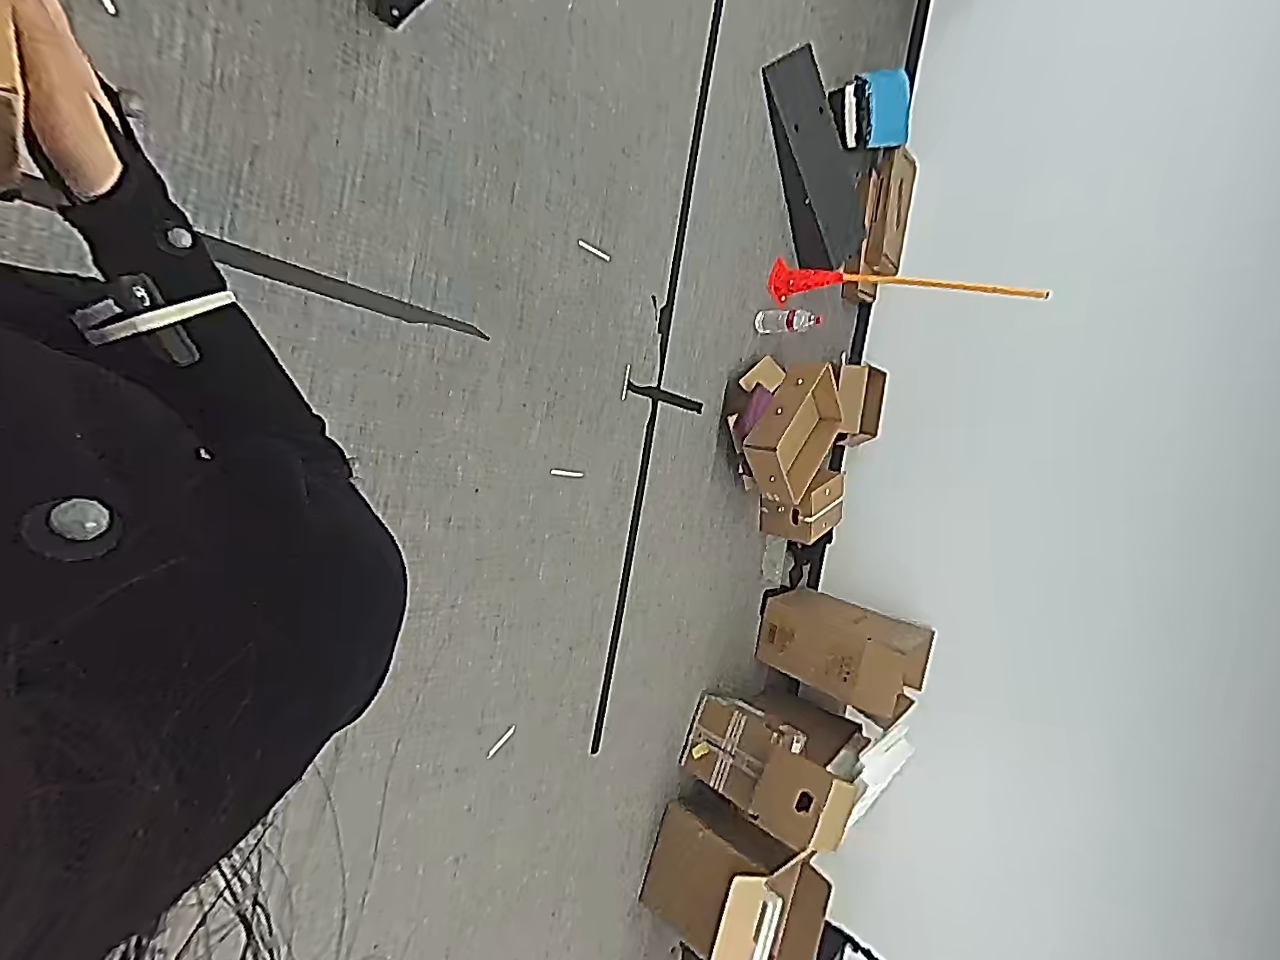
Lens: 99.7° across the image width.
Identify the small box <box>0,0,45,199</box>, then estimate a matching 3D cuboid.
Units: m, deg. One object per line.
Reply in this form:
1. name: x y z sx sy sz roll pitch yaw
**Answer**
1. small box: -0.368 -0.242 0.212 0.168 0.176 0.179 -7 101 -49
